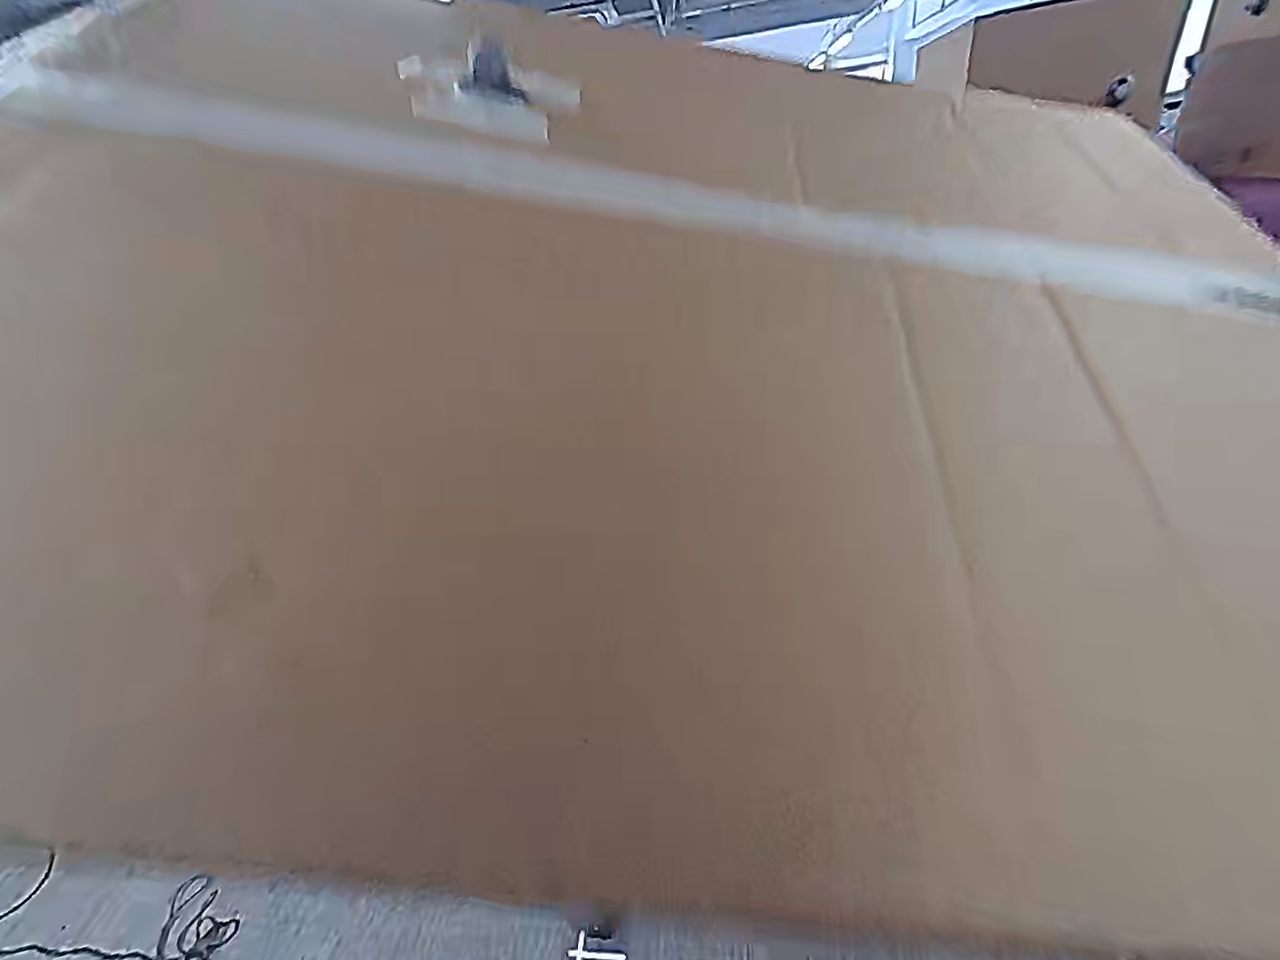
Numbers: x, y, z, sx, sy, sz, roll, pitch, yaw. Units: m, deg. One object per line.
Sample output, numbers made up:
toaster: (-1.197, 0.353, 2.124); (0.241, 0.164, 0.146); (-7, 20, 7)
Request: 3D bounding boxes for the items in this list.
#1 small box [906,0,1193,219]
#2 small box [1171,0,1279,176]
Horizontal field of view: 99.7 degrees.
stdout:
small box: (0.400, -0.385, 0.568); (0.179, 0.176, 0.168); (-4, 29, 11)
small box: (0.657, -0.386, 0.490); (0.179, 0.176, 0.168); (-4, 29, 8)
